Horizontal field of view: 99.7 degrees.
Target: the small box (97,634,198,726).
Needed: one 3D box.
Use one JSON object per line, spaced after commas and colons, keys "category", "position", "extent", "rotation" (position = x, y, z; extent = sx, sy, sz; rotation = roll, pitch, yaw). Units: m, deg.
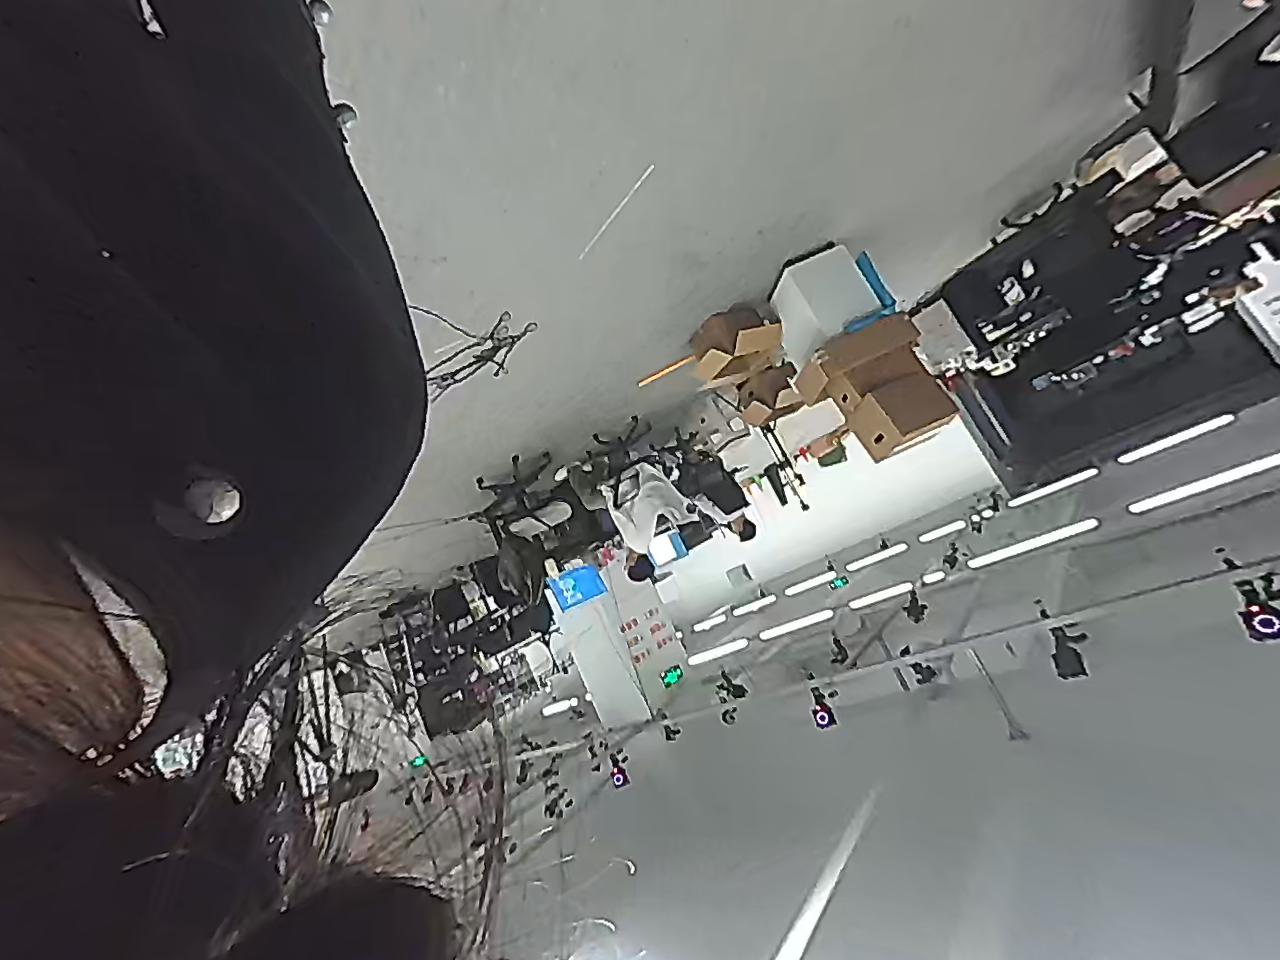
{"category": "small box", "position": [-1.314, 0.529, 1.443], "extent": [0.168, 0.176, 0.179], "rotation": [-15, 166, -48]}
